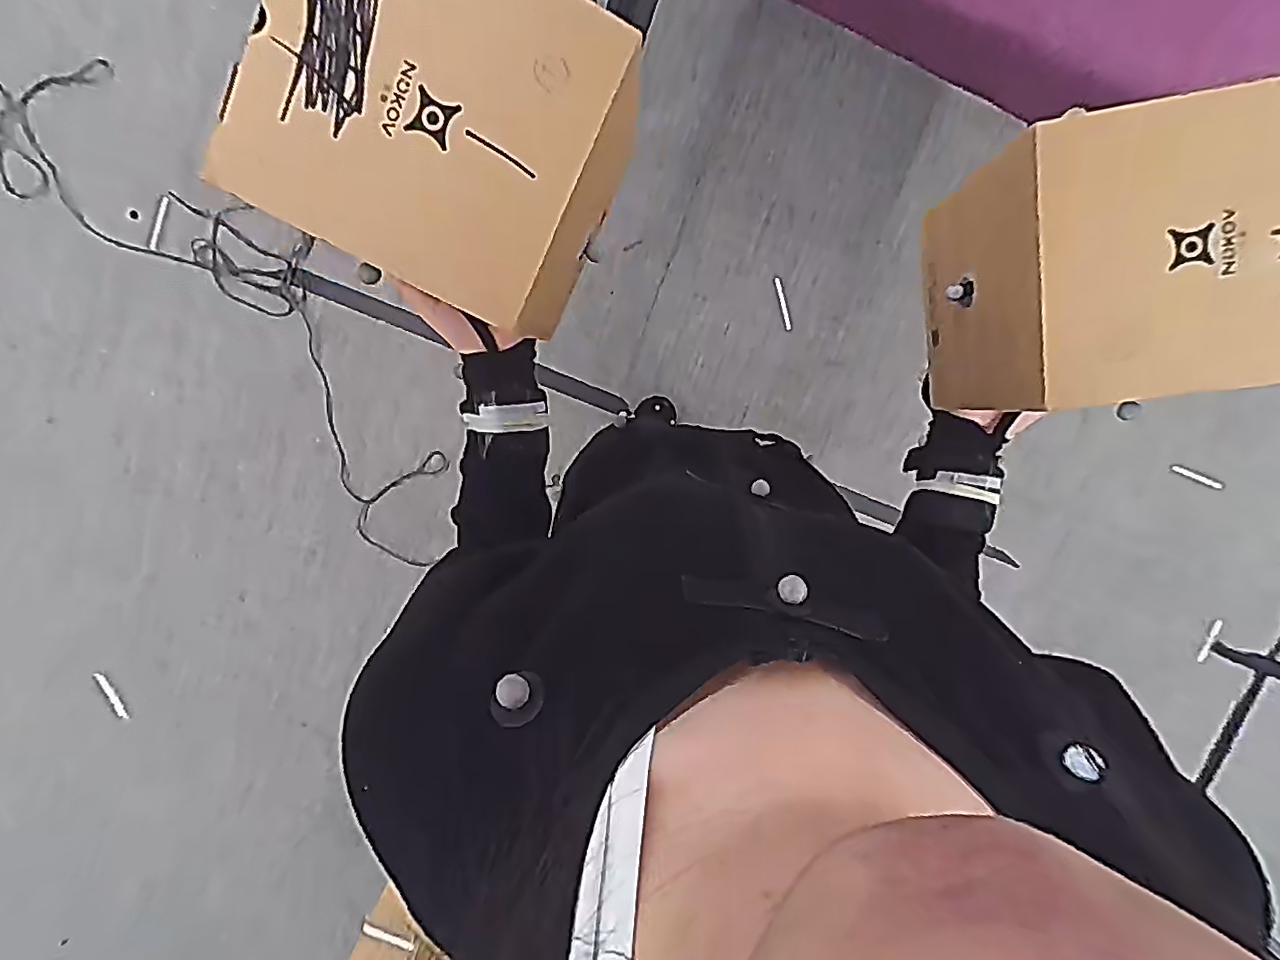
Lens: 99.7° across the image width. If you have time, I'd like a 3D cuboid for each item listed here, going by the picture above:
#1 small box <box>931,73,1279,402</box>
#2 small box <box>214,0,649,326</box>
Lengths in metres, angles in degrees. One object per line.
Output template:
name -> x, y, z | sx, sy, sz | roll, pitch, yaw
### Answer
small box -> 0.327, -0.146, 0.385 | 0.179, 0.176, 0.168 | -6, 98, 7
small box -> -0.110, -0.211, 0.353 | 0.179, 0.176, 0.168 | 26, 101, -8
